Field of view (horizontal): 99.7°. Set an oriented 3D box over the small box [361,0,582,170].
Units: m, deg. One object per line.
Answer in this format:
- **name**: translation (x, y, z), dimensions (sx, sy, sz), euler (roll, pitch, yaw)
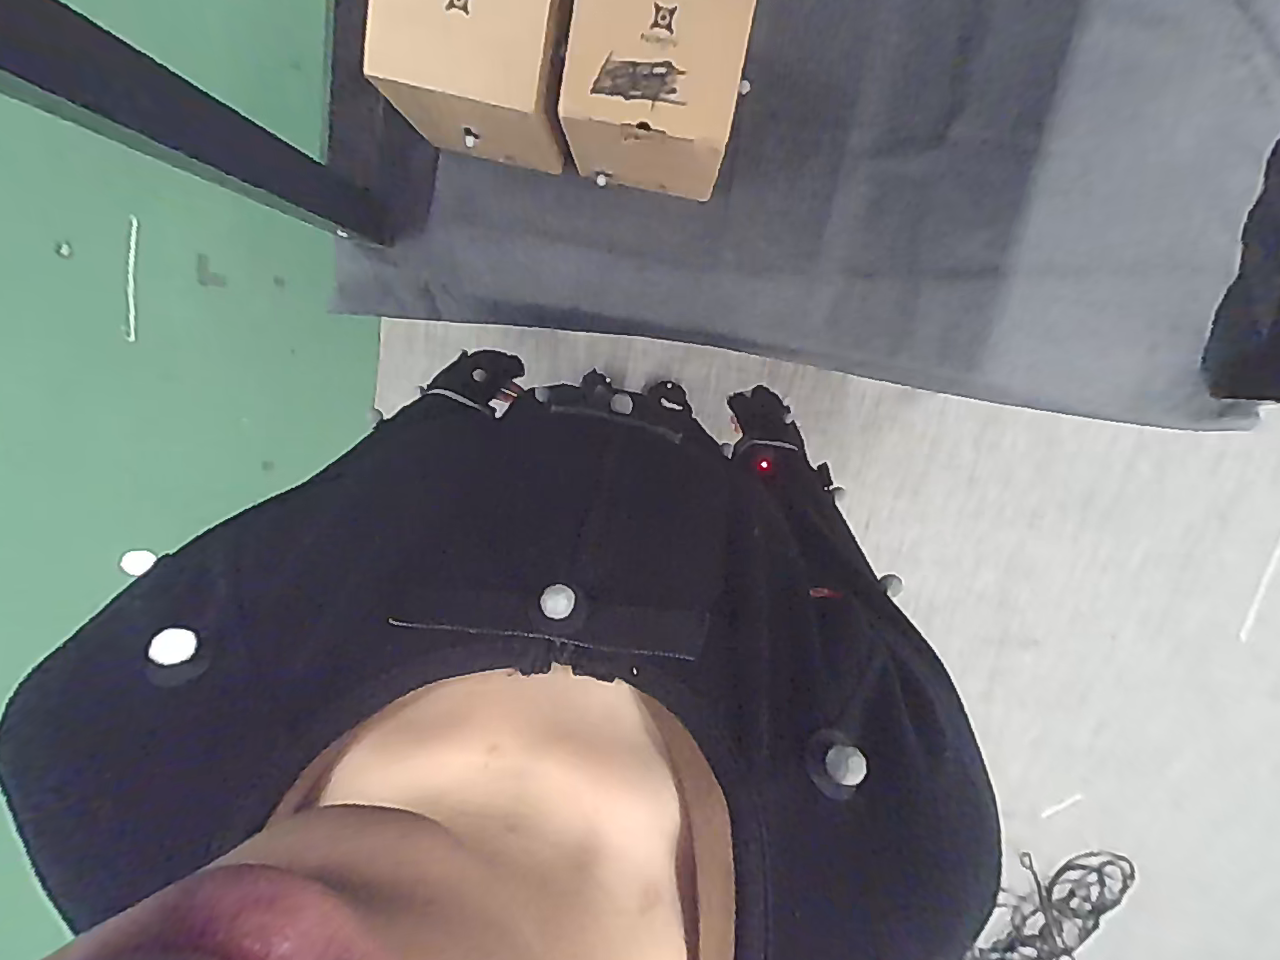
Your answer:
- **small box**: translation (-0.161, -0.456, 0.565), dimensions (0.168, 0.176, 0.179), euler (12, 101, -3)
